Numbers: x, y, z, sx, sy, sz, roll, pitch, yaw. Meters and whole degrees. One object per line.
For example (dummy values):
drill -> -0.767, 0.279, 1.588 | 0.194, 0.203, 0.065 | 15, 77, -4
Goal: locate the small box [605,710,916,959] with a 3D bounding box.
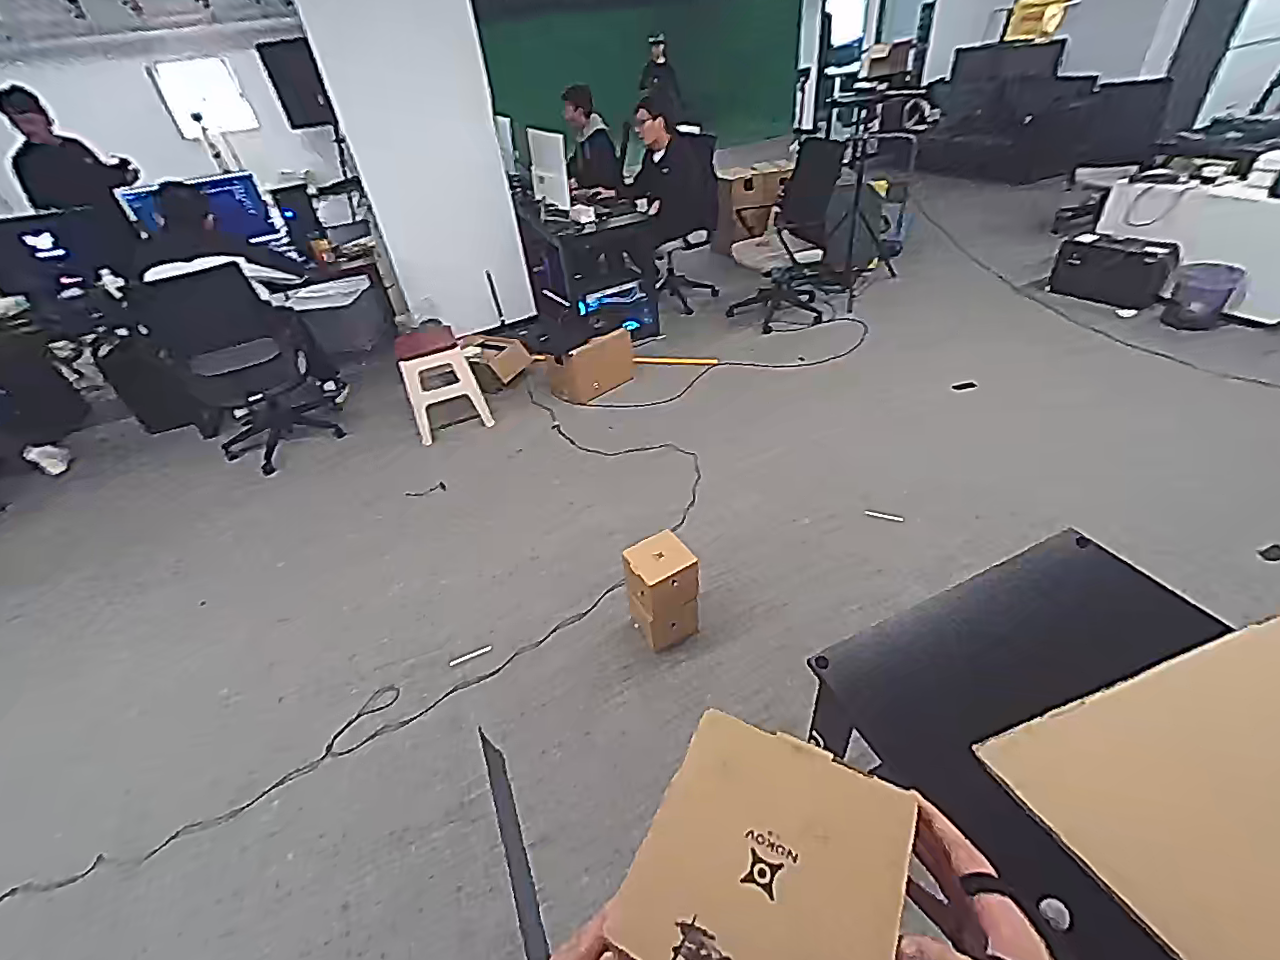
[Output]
small box -> 0.096, 0.323, 0.412 | 0.168, 0.176, 0.179 | 12, 40, 28

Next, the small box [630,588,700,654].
small box -> 0.084, 0.431, 1.772 | 0.179, 0.176, 0.168 | -23, 40, -17

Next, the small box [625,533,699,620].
small box -> 0.073, 0.302, 1.675 | 0.179, 0.176, 0.168 | -23, 42, -21
